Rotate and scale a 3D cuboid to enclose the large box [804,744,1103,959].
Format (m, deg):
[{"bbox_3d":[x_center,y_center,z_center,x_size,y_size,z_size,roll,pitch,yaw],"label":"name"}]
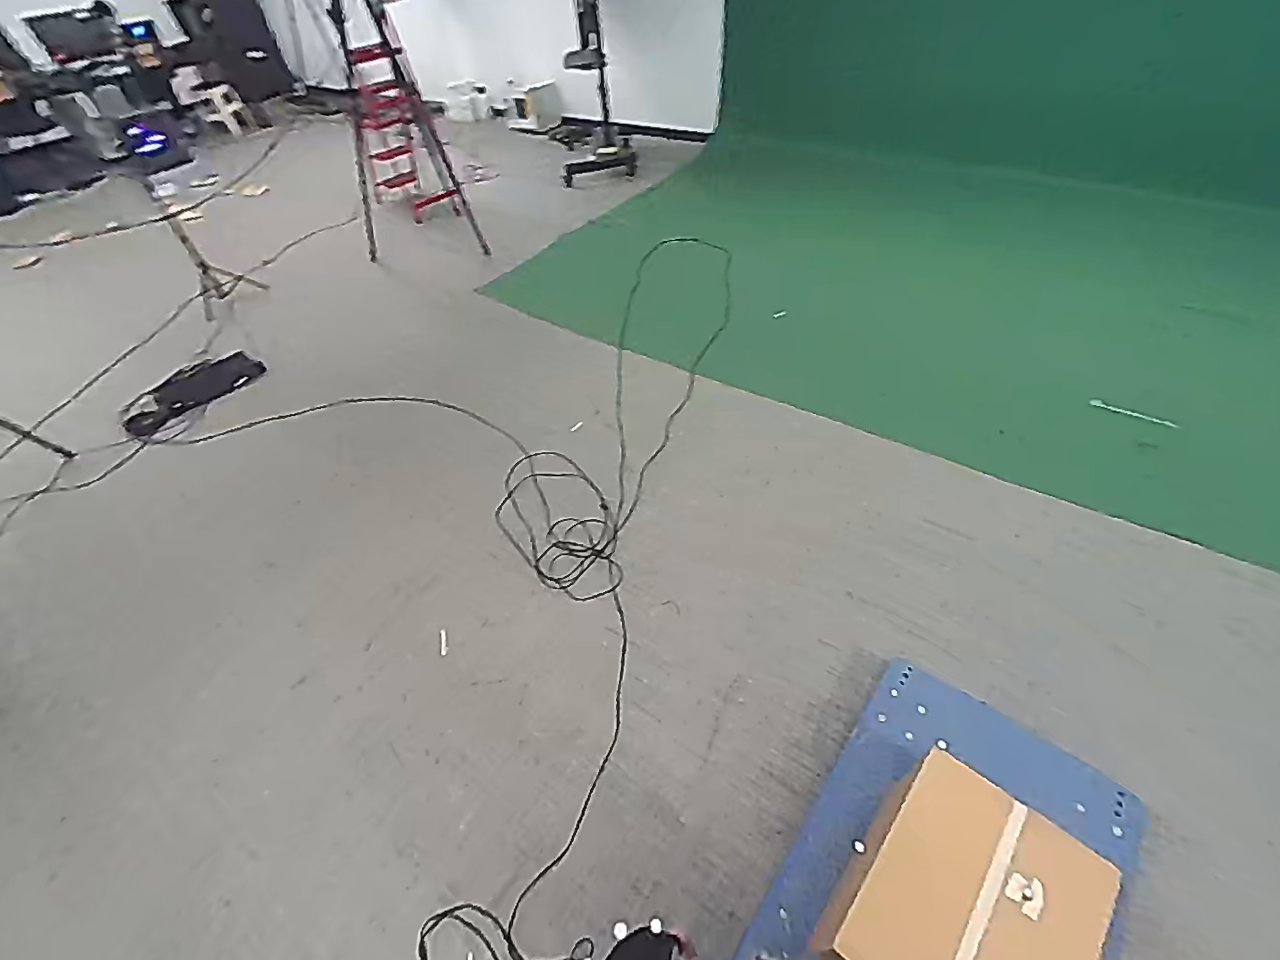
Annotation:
[{"bbox_3d":[0.553,0.800,0.999,0.320,0.320,0.408,32,57,28],"label":"large box"}]
